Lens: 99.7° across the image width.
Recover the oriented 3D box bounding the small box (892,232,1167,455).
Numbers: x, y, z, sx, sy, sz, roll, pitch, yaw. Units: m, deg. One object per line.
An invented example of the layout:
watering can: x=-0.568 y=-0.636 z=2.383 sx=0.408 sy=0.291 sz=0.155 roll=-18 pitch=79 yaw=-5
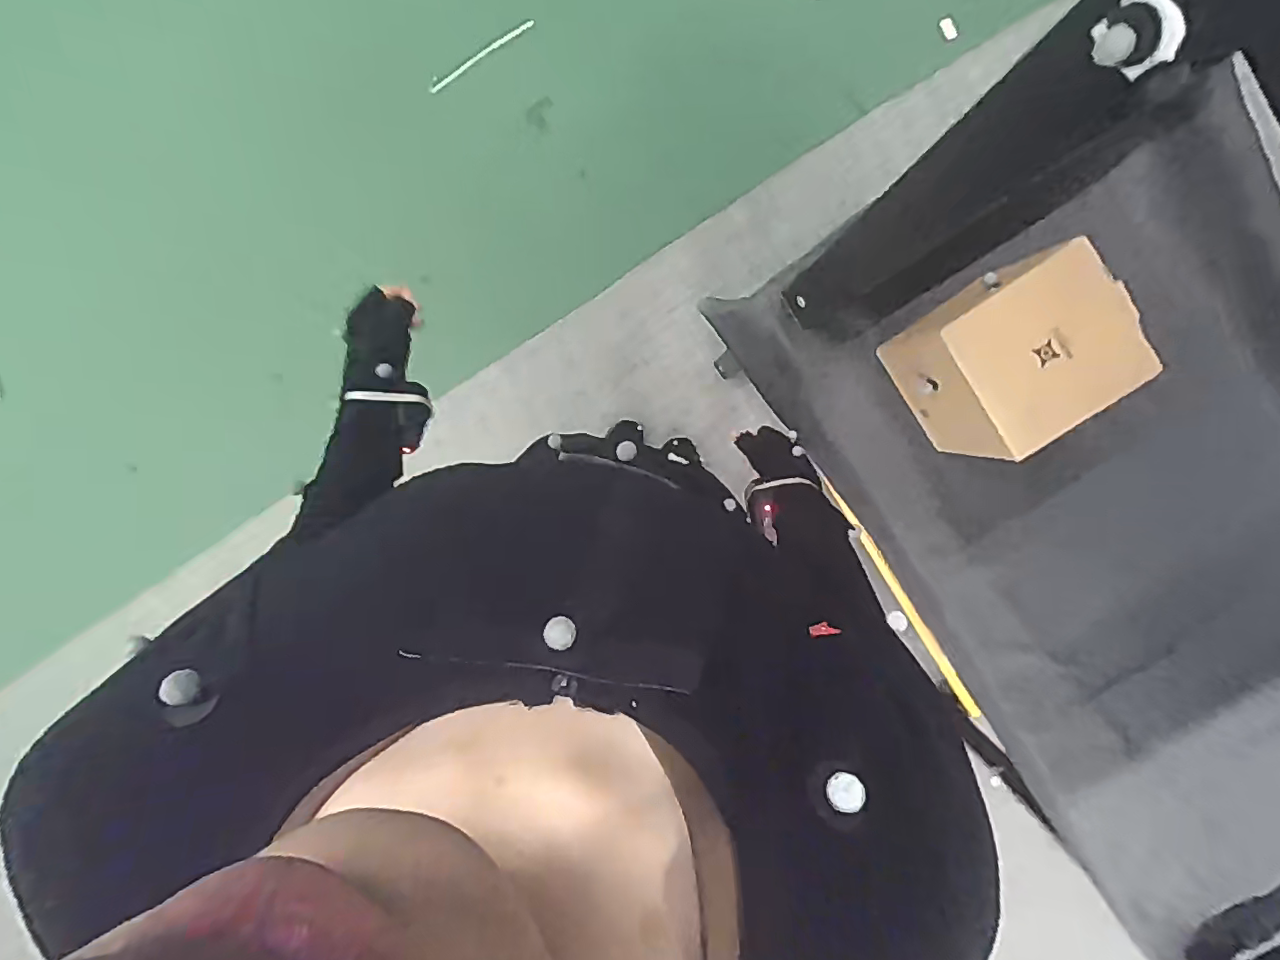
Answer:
small box: x=0.428 y=-0.145 z=0.635 sx=0.179 sy=0.176 sz=0.168 roll=-34 pitch=95 yaw=4
